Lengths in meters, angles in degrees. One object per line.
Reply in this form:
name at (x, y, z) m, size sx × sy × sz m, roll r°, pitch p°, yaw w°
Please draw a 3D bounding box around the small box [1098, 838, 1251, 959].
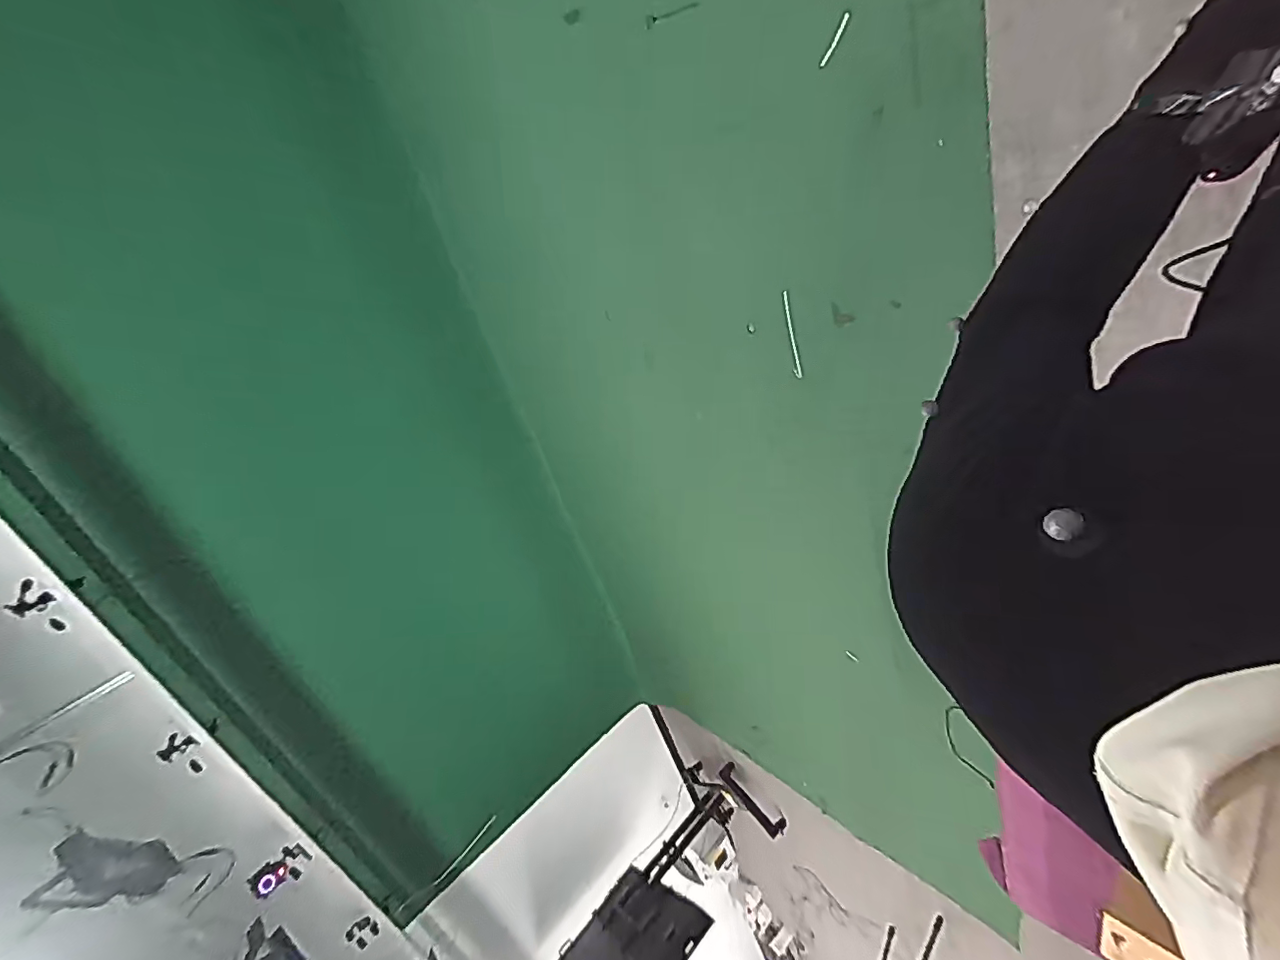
small box at (0.985, 0.821, 1.001) m, size 0.179 × 0.176 × 0.168 m, roll 13°, pitch 131°, yaw 49°
